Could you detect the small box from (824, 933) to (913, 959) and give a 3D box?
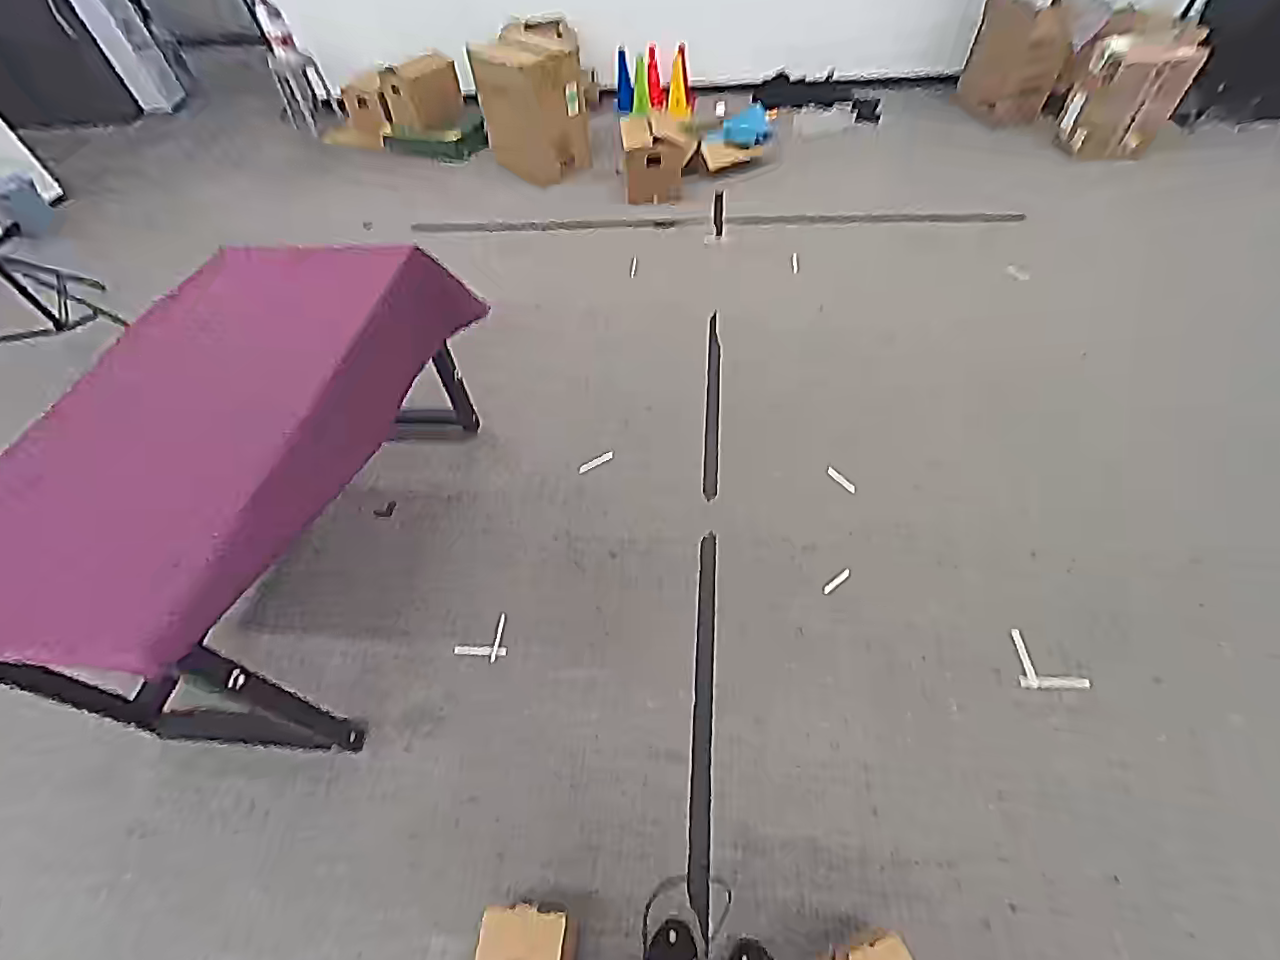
[{"bbox_3d":[0.442,0.979,1.000,0.168,0.176,0.179,-21,55,-10],"label":"small box"}]

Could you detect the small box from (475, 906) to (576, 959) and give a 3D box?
[{"bbox_3d":[-0.226,0.959,1.060,0.168,0.176,0.179,2,50,6],"label":"small box"}]
